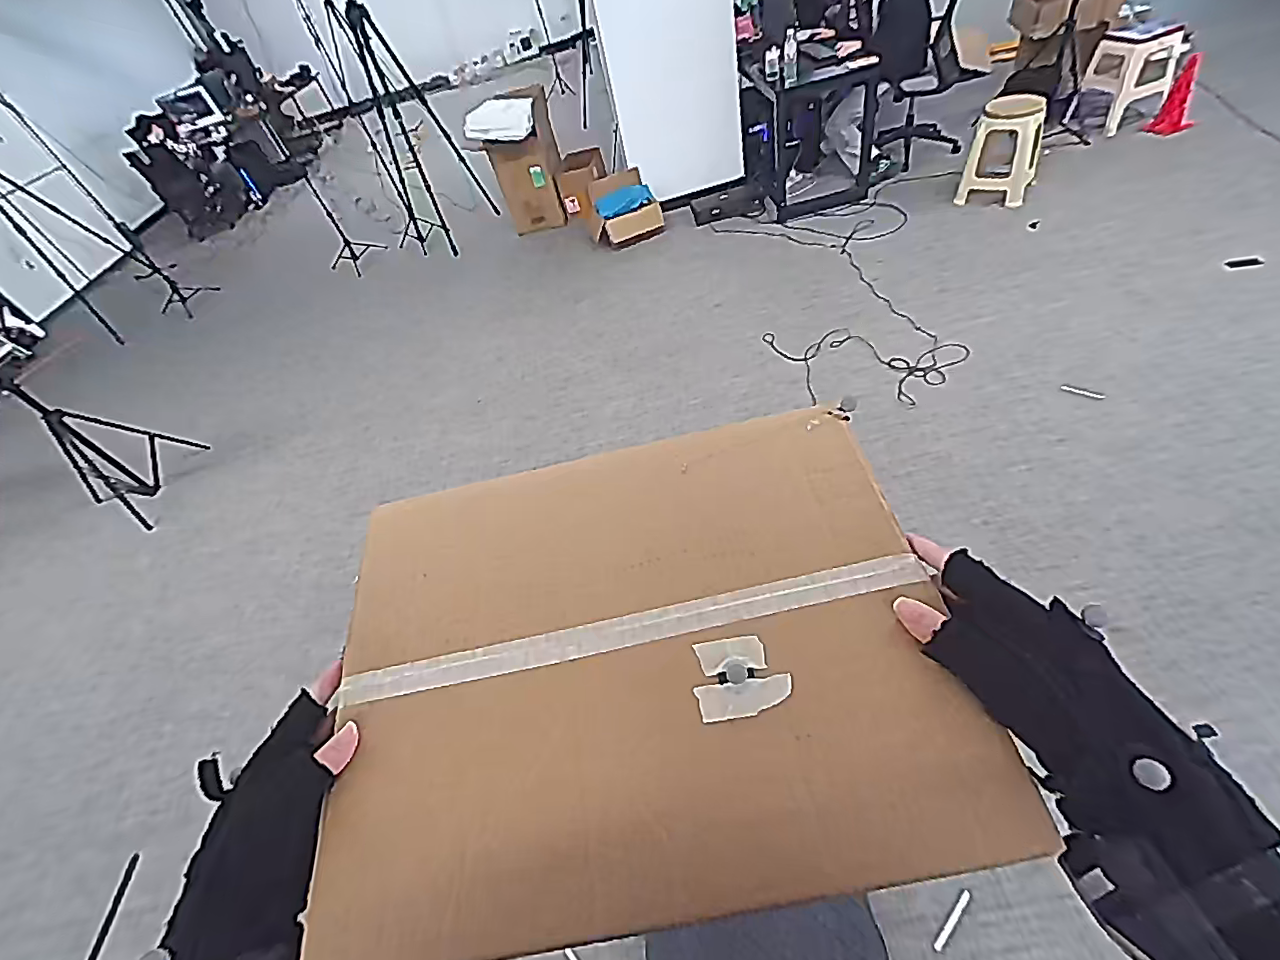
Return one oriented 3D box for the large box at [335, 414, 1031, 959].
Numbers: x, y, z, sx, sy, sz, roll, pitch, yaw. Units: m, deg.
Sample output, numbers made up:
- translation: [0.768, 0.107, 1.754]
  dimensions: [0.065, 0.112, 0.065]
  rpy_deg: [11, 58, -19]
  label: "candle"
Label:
- translation: [0.018, 0.192, 0.503]
  dimensions: [0.408, 0.320, 0.320]
  rpy_deg: [-12, 55, 2]
  label: "large box"
